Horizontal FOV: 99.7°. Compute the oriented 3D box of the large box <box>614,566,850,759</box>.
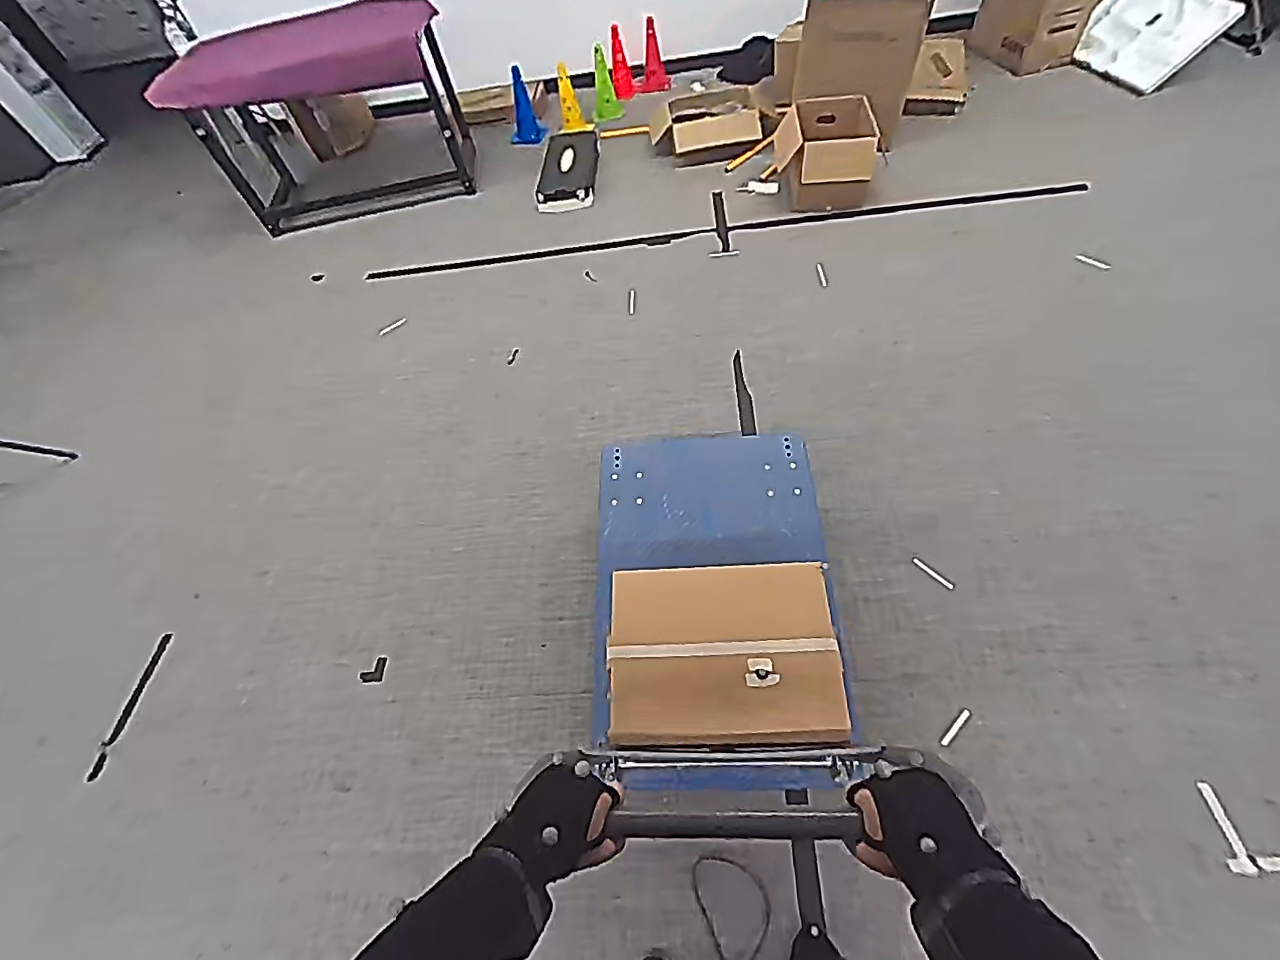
[{"bbox_3d":[0.164,0.389,1.118,0.408,0.320,0.320,-4,61,4],"label":"large box"}]
